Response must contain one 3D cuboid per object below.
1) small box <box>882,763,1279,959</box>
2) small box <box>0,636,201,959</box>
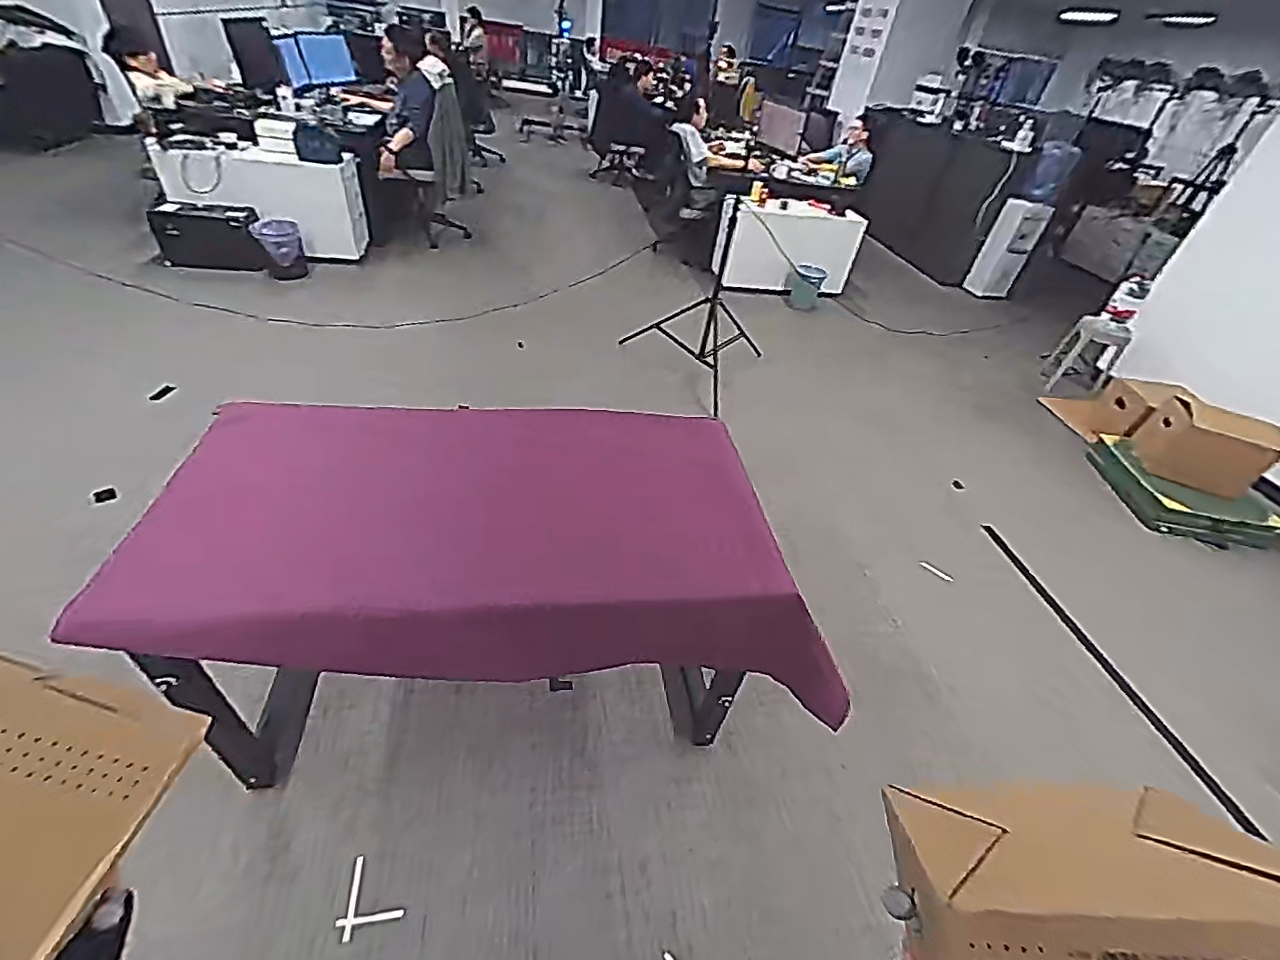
[{"bbox_3d":[0.232,0.256,0.273,0.168,0.179,0.176,-10,76,14],"label":"small box"},{"bbox_3d":[-0.367,0.177,0.277,0.179,0.168,0.176,34,55,-22],"label":"small box"}]
